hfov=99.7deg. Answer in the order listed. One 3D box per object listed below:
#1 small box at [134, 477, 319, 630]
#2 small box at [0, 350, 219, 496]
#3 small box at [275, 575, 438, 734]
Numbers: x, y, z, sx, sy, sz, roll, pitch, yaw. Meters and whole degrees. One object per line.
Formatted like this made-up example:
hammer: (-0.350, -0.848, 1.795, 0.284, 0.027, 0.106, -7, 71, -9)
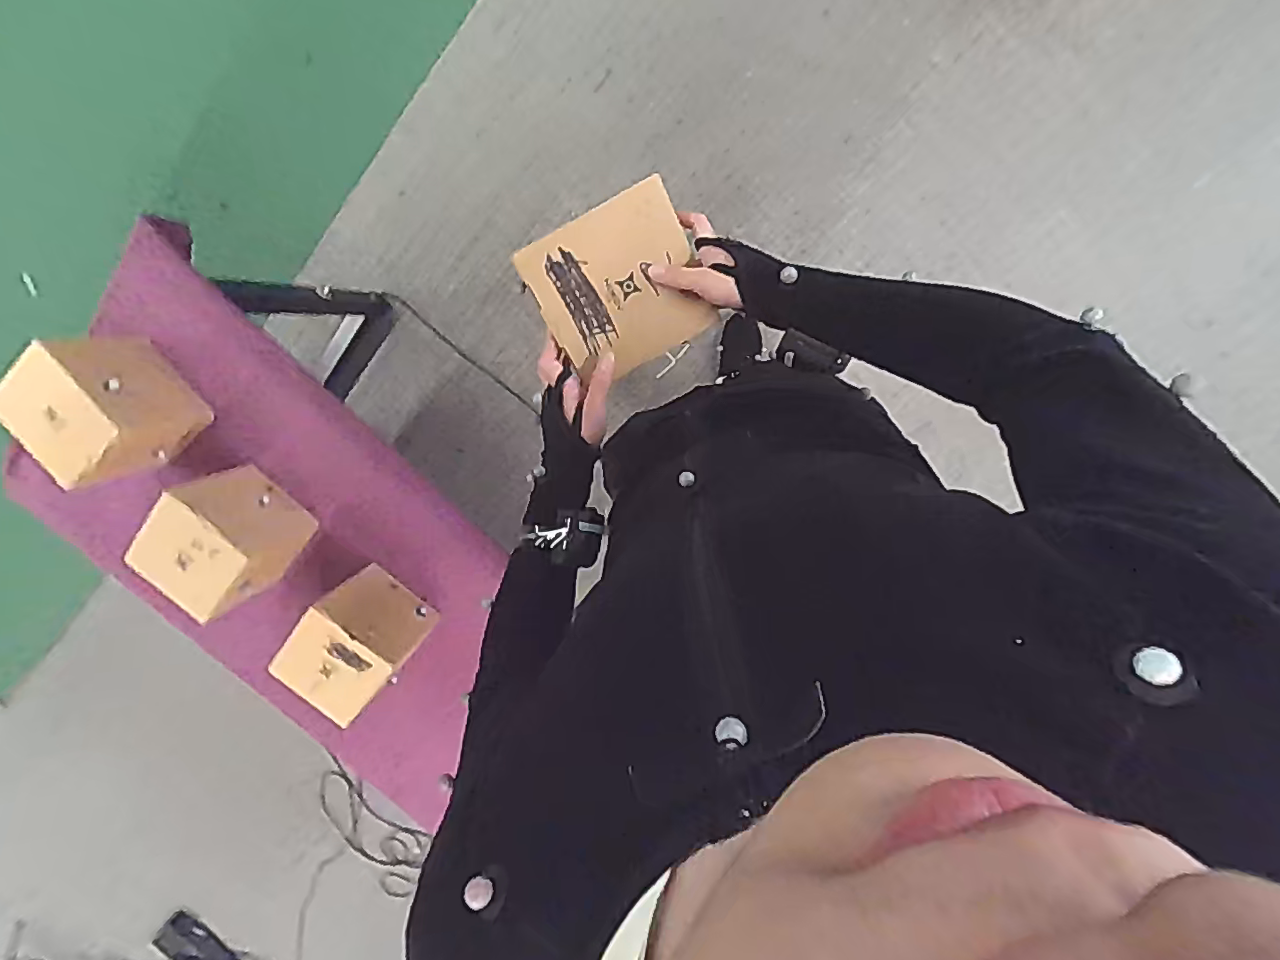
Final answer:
small box: (-0.718, 0.122, 0.959, 0.168, 0.176, 0.179, 43, 107, -5)
small box: (-0.889, -0.104, 0.922, 0.168, 0.176, 0.179, -35, 99, 16)
small box: (-0.496, 0.305, 0.976, 0.168, 0.176, 0.179, 40, 108, -3)
